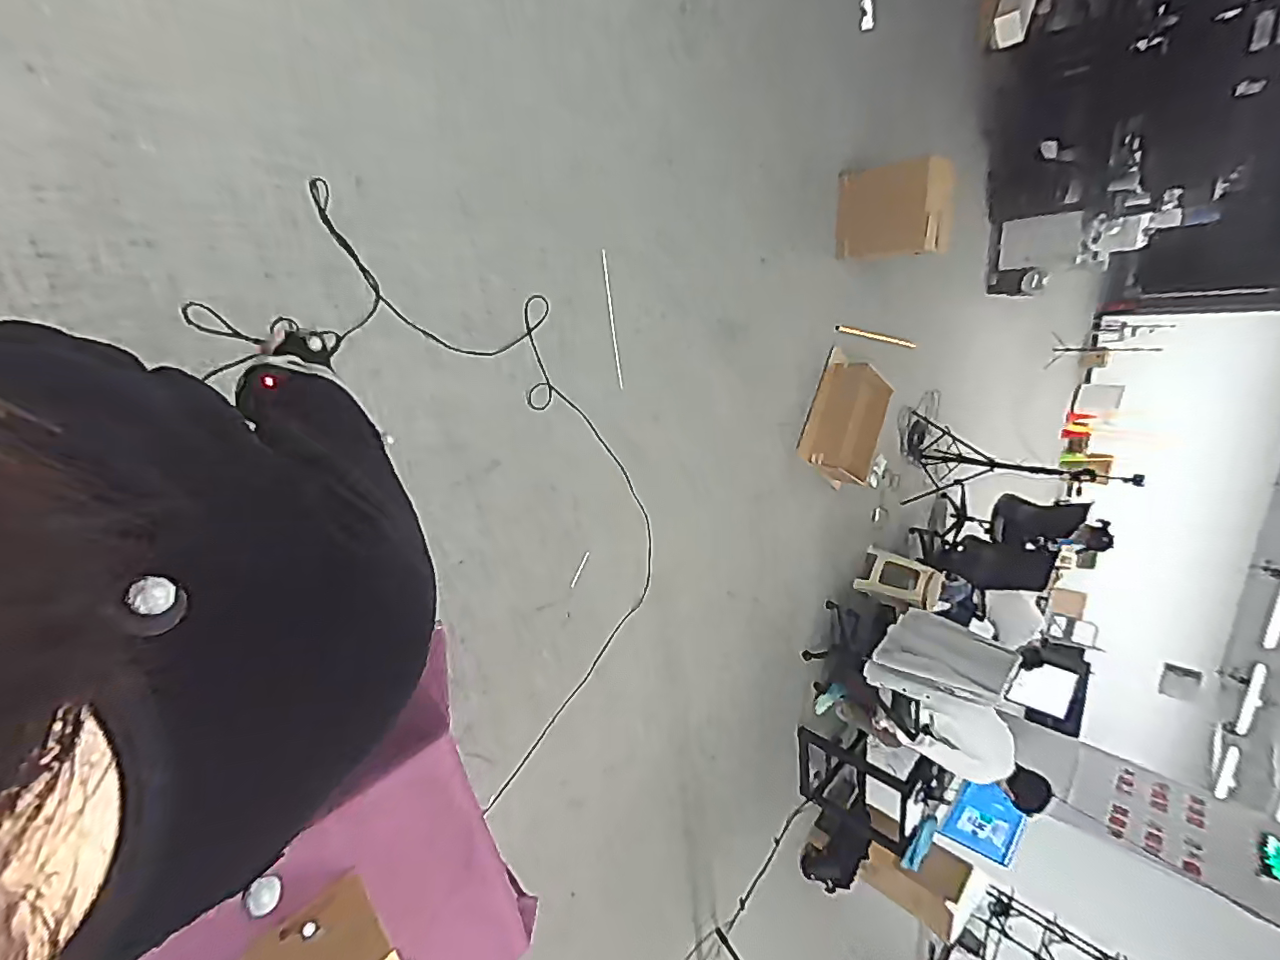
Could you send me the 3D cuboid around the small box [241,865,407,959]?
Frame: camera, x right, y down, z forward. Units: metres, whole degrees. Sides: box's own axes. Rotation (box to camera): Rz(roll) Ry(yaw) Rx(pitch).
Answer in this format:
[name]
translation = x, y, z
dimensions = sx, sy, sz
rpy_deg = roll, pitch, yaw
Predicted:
[small box]
translation = -0.434, 0.710, 0.770
dimensions = 0.168, 0.176, 0.179
rpy_deg = -25, 116, -38
